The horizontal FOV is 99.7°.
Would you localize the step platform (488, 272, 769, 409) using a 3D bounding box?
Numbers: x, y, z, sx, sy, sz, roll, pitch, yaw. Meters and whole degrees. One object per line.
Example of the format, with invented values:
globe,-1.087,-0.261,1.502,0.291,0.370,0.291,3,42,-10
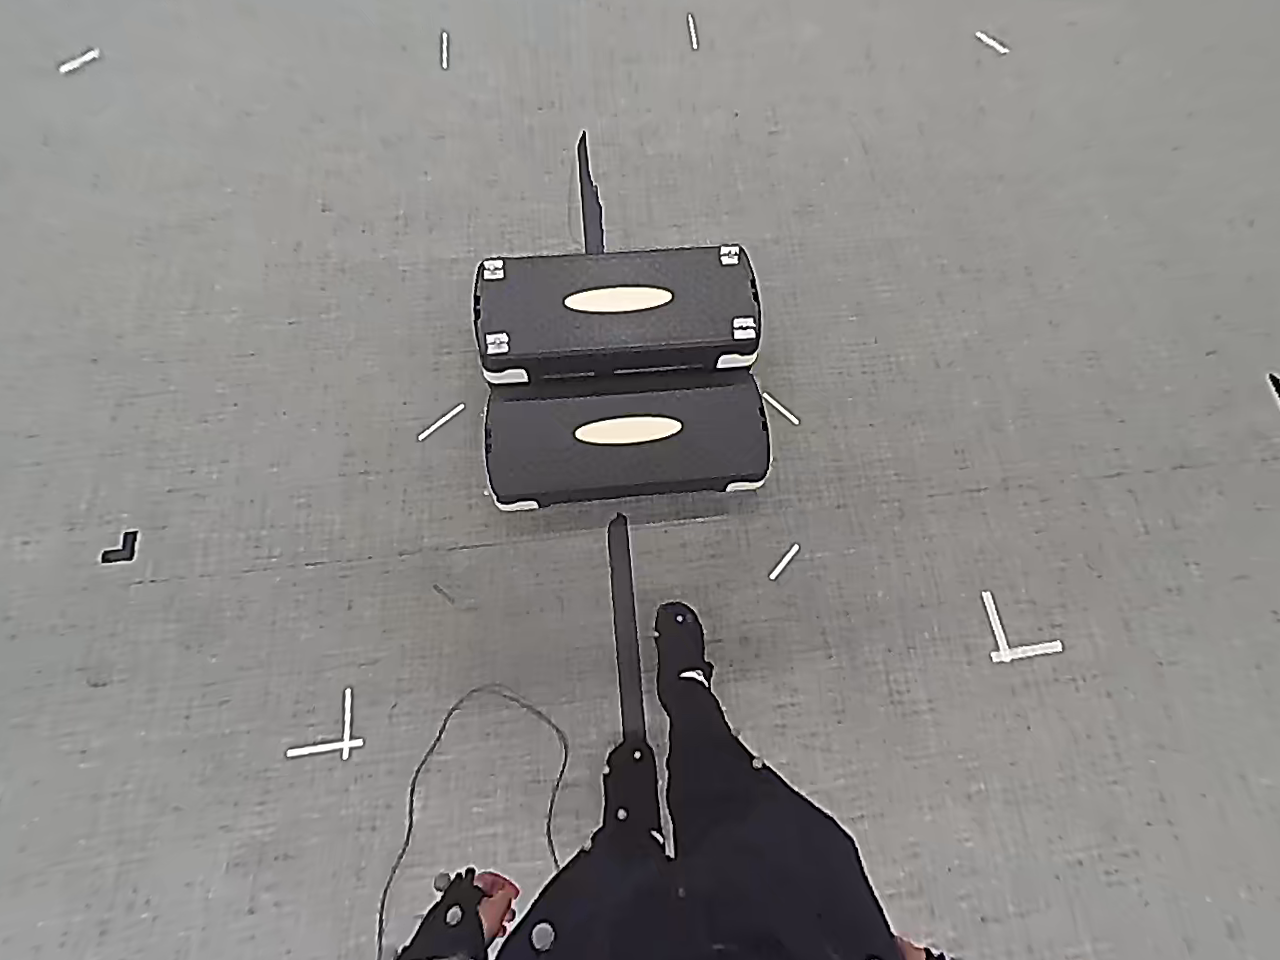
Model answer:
step platform,-0.028,-0.351,1.355,0.684,0.204,0.286,-1,72,-3
